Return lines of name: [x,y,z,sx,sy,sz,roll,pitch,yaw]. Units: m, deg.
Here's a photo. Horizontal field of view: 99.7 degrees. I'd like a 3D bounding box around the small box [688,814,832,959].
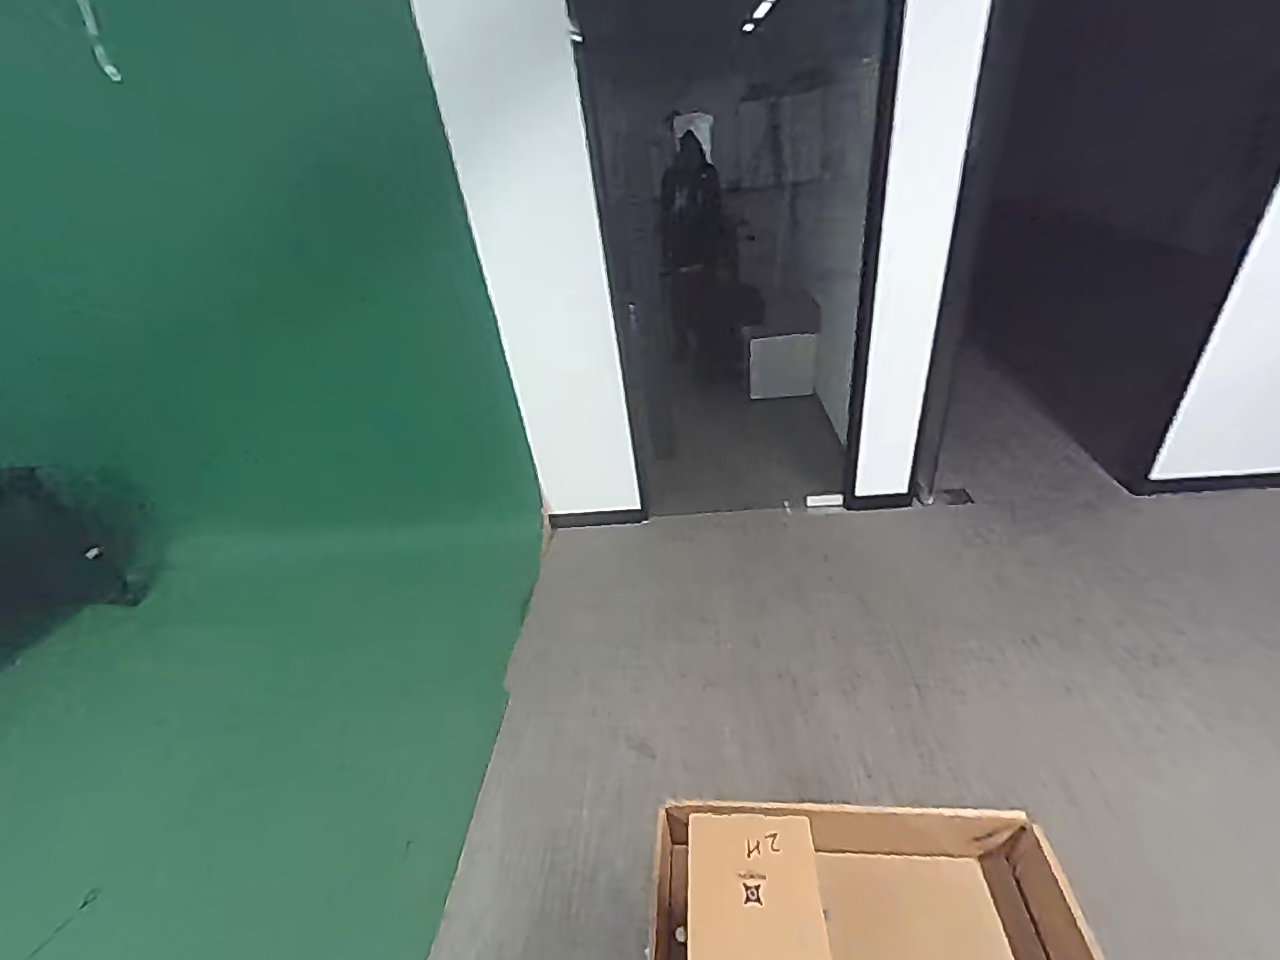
small box: [0.155,0.575,0.710,0.168,0.176,0.179,-3,32,9]
